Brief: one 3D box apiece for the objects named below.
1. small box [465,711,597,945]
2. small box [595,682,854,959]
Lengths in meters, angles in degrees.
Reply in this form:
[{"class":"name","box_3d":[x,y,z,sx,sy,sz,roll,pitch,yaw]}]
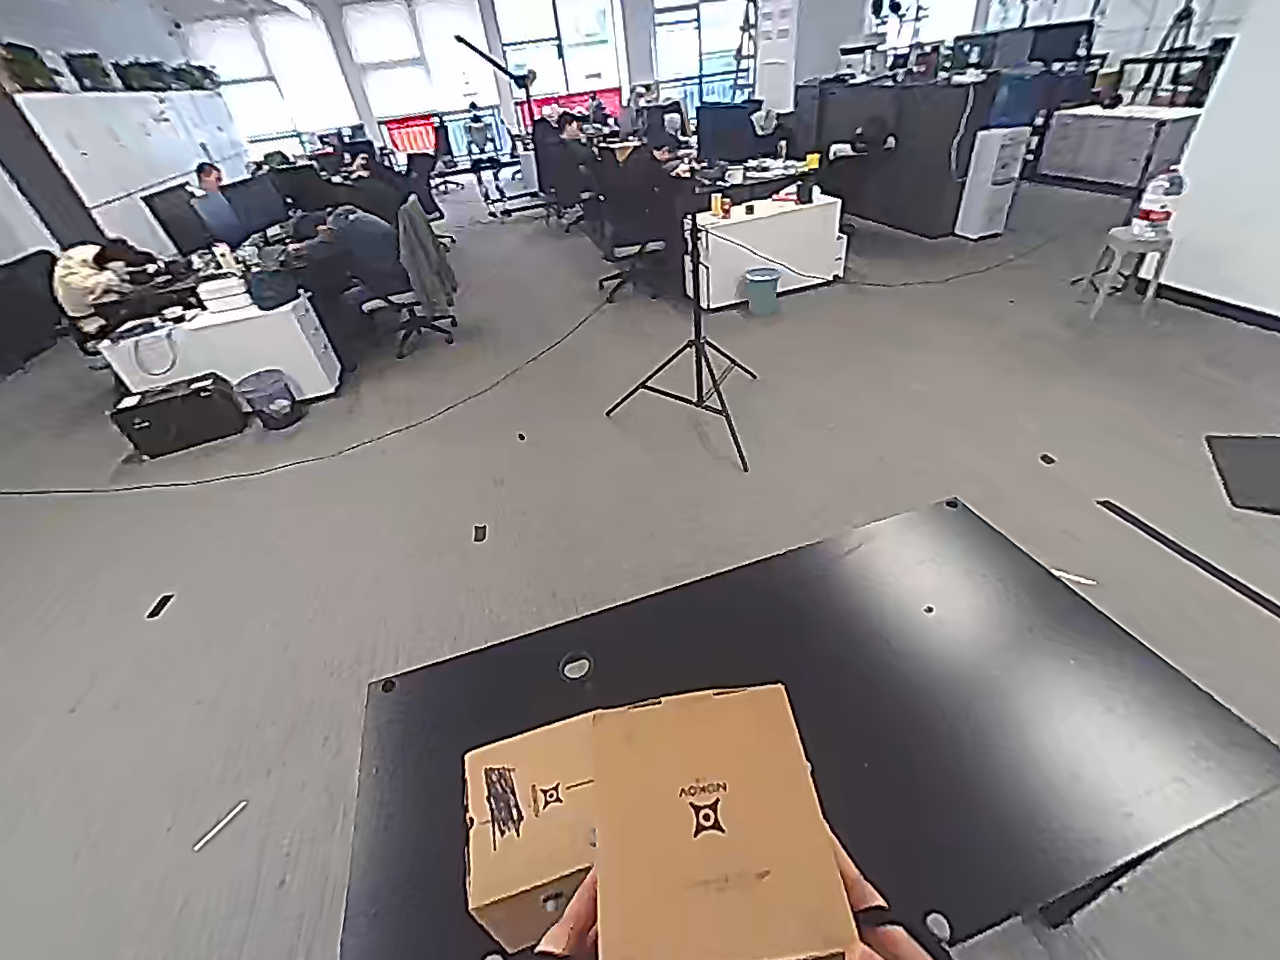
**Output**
[{"class":"small box","box_3d":[-0.101,0.424,0.661,0.179,0.176,0.168,-14,38,-10]},{"class":"small box","box_3d":[0.057,0.300,0.454,0.168,0.176,0.179,-9,42,2]}]
